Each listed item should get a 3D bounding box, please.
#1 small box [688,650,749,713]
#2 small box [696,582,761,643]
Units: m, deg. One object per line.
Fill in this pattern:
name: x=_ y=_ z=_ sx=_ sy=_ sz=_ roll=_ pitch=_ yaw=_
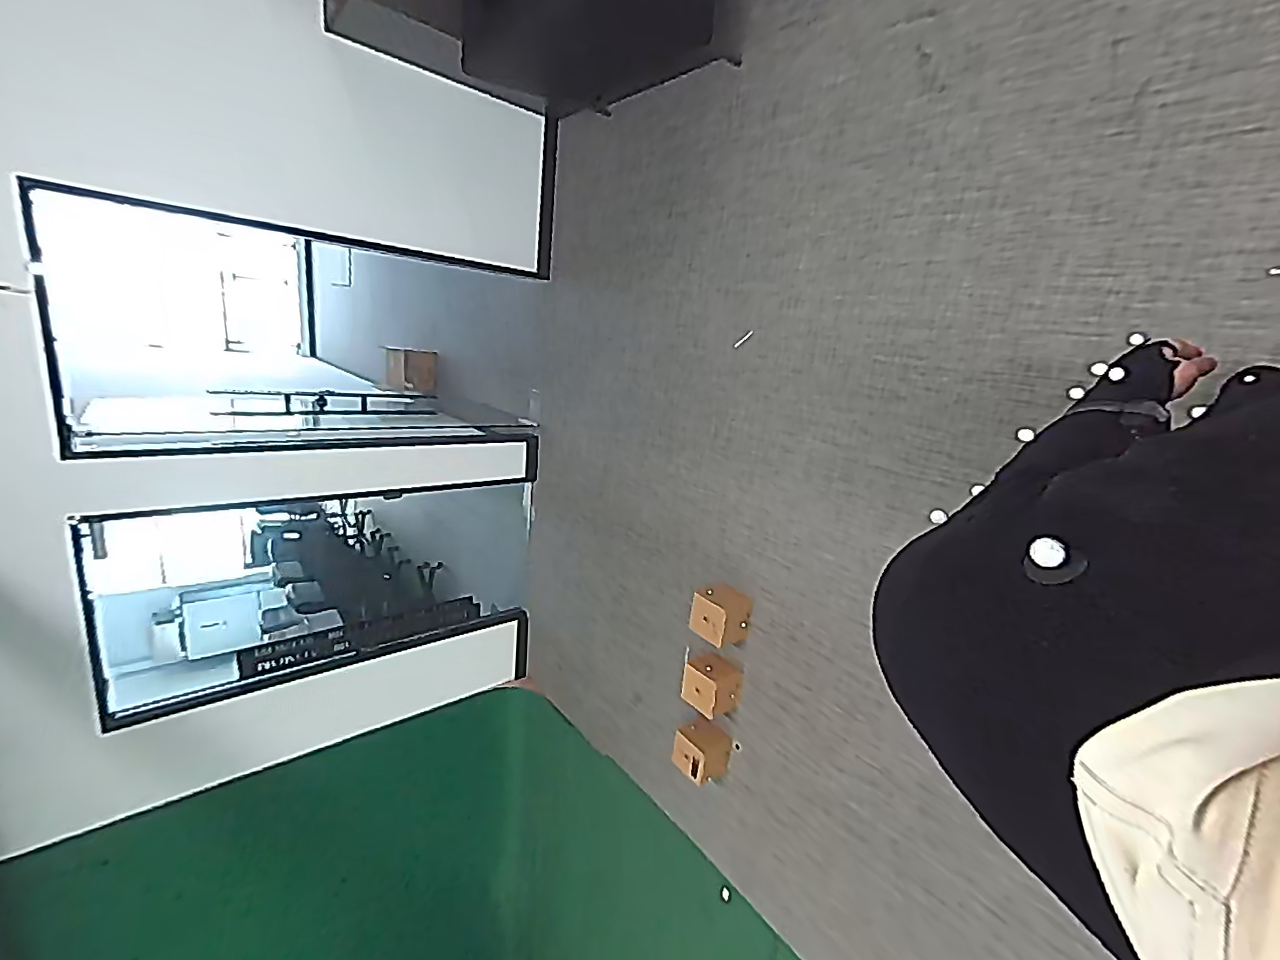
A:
small box: x=0.327 y=0.830 z=2.252 sx=0.179 sy=0.176 sz=0.168 roll=20 pitch=110 yaw=47
small box: x=0.355 y=0.526 z=2.177 sx=0.179 sy=0.176 sz=0.168 roll=25 pitch=113 yaw=46
